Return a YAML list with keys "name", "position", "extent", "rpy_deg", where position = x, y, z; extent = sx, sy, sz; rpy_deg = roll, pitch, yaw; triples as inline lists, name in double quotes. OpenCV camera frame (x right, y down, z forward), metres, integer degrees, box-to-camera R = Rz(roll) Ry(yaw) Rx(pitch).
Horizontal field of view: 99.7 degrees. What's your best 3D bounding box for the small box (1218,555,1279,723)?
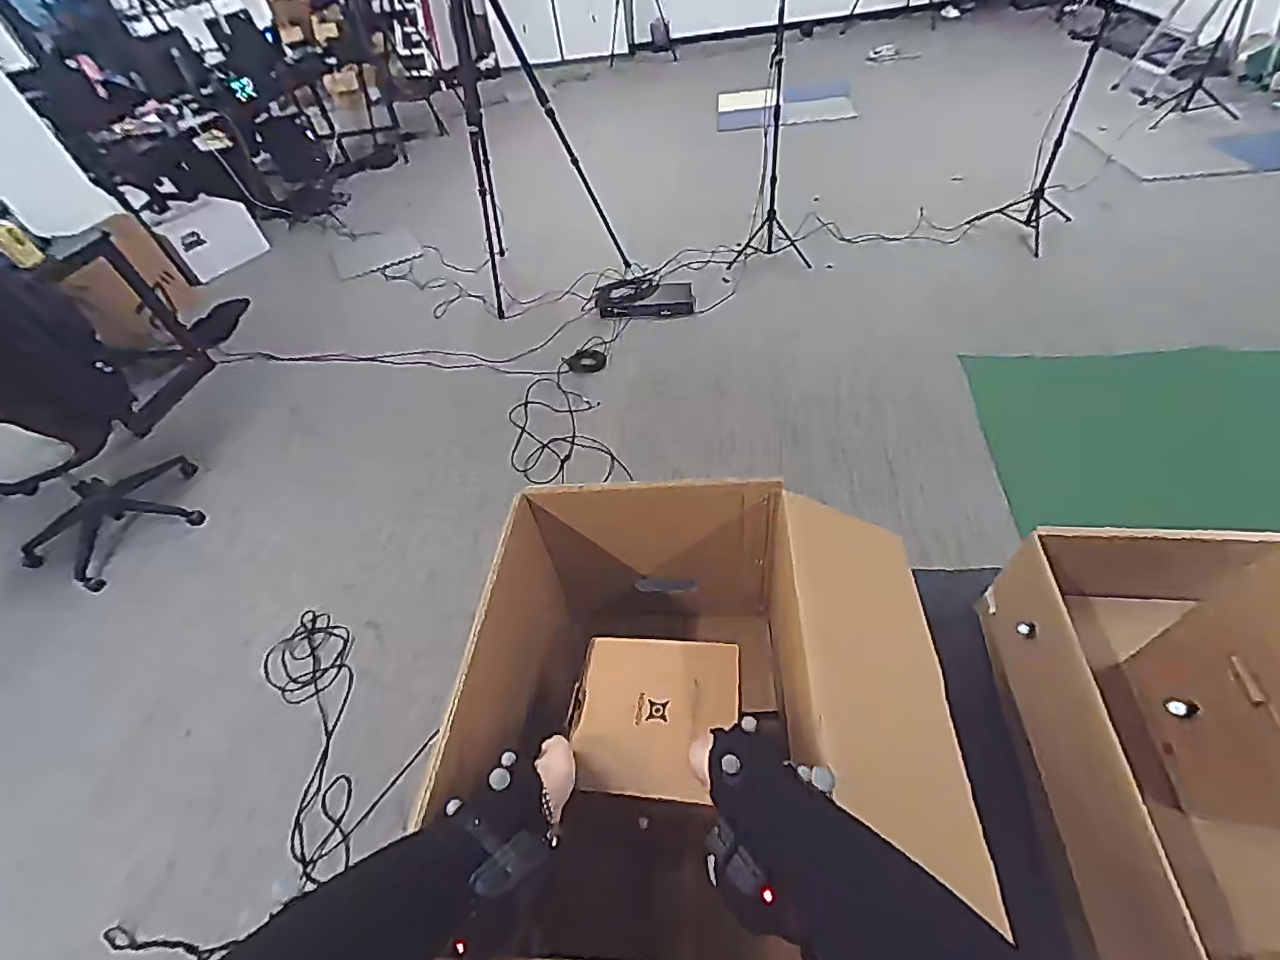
- name: "small box"
  position: [0.625, 0.133, 0.413]
  extent: [0.168, 0.176, 0.179]
  rpy_deg: [2, 50, 11]
